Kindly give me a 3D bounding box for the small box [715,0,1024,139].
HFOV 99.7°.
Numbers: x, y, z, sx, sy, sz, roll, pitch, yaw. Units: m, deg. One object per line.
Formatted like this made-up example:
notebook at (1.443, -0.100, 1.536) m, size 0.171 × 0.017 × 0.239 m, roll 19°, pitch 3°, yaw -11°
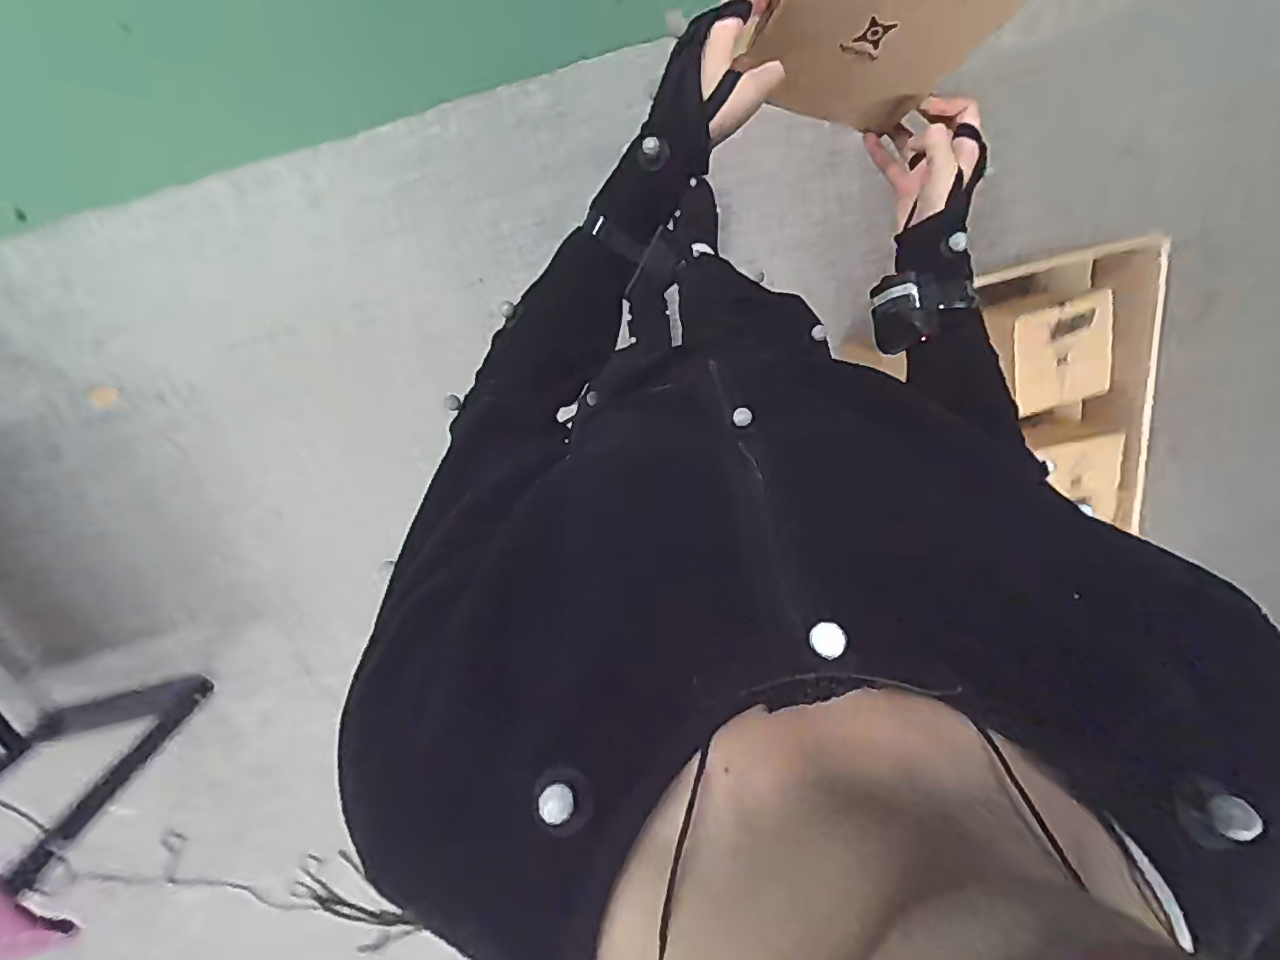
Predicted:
small box at (0.170, -0.412, 0.412) m, size 0.168 × 0.179 × 0.176 m, roll 3°, pitch 86°, yaw -16°
